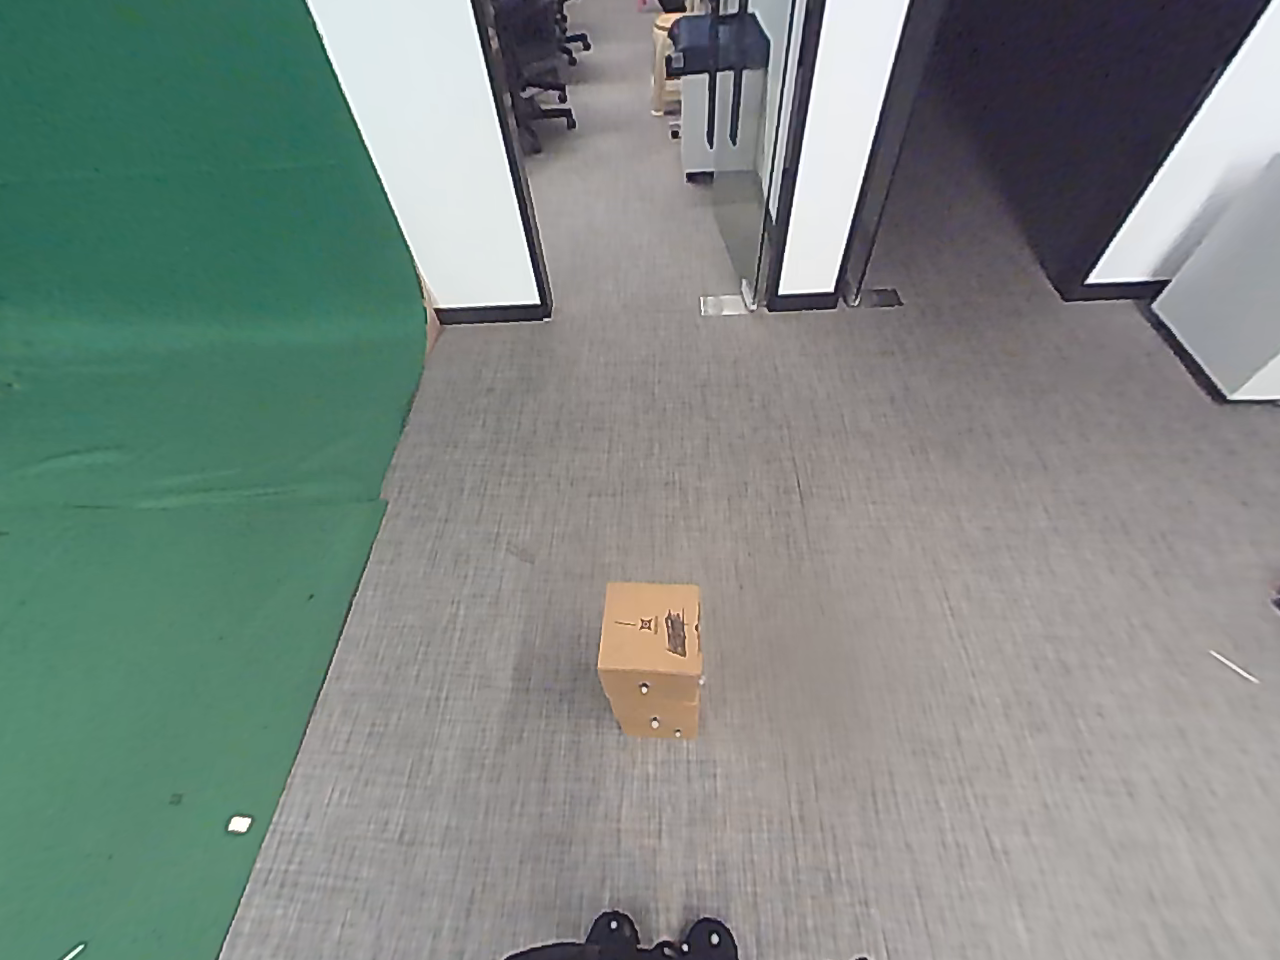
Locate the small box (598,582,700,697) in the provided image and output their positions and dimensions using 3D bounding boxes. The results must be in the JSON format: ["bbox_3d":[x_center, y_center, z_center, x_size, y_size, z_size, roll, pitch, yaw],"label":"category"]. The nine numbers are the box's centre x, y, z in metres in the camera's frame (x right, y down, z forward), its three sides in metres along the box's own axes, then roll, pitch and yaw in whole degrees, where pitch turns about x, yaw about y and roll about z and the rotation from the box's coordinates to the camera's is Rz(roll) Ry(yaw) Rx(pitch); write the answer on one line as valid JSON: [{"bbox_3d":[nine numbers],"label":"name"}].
[{"bbox_3d":[0.020,0.307,1.032,0.179,0.176,0.168,1,53,3],"label":"small box"}]

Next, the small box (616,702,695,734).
[{"bbox_3d":[0.042,0.501,1.297,0.179,0.176,0.168,-1,52,5],"label":"small box"}]

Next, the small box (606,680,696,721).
[{"bbox_3d":[0.031,0.408,1.163,0.179,0.176,0.168,4,53,6],"label":"small box"}]
